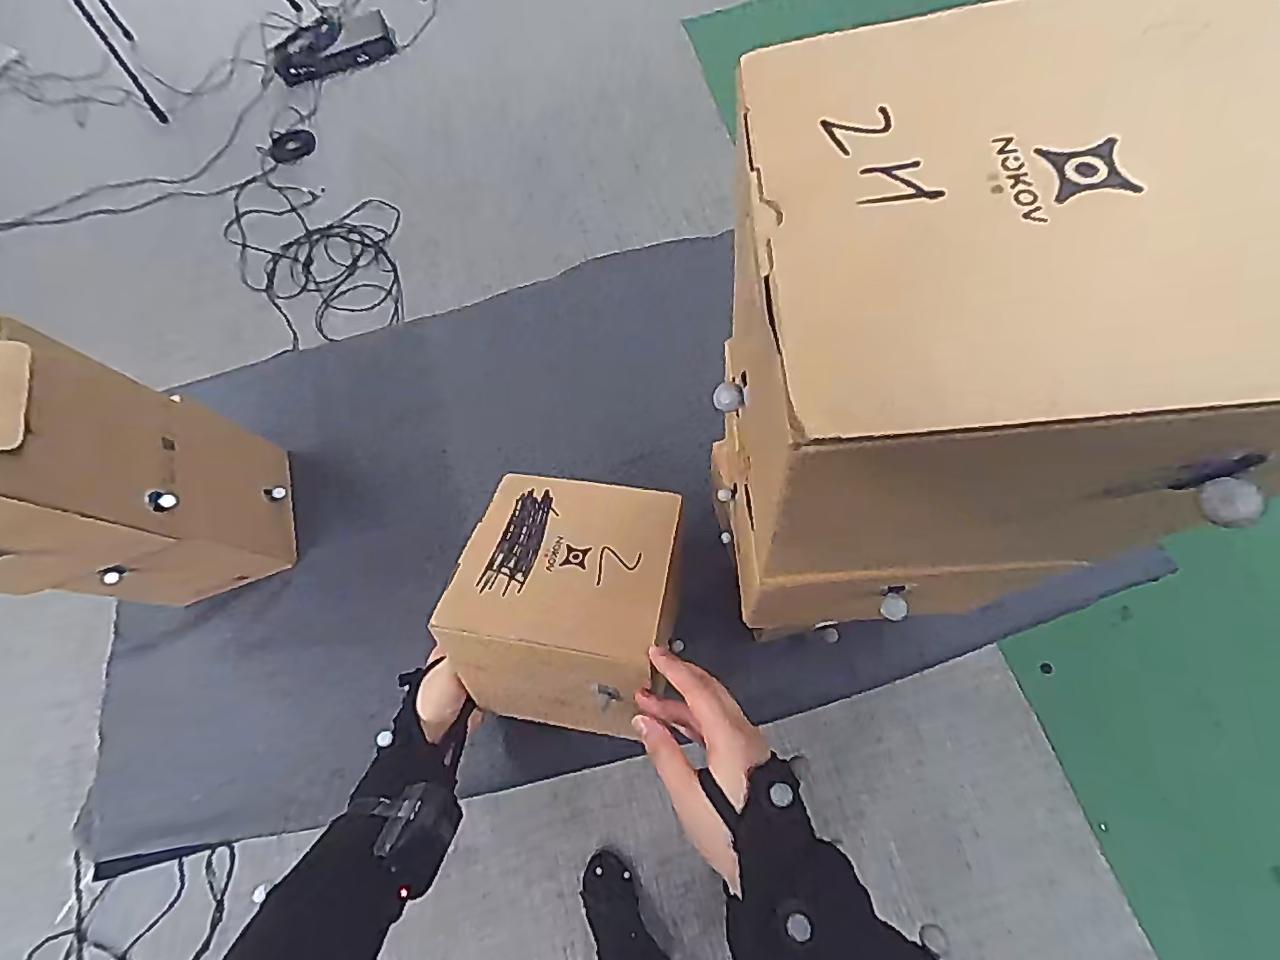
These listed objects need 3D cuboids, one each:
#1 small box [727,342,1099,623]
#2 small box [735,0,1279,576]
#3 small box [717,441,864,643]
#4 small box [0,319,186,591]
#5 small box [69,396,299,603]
[{"bbox_3d":[0.157,0.006,0.387,0.179,0.176,0.168,-6,67,8],"label":"small box"},{"bbox_3d":[0.136,-0.057,0.236,0.179,0.176,0.168,-5,67,8],"label":"small box"},{"bbox_3d":[0.177,0.052,0.542,0.168,0.176,0.179,-16,68,3],"label":"small box"},{"bbox_3d":[-0.565,-0.009,0.496,0.179,0.176,0.168,-19,69,1],"label":"small box"},{"bbox_3d":[-0.549,0.033,0.655,0.168,0.176,0.179,-20,68,0],"label":"small box"}]
